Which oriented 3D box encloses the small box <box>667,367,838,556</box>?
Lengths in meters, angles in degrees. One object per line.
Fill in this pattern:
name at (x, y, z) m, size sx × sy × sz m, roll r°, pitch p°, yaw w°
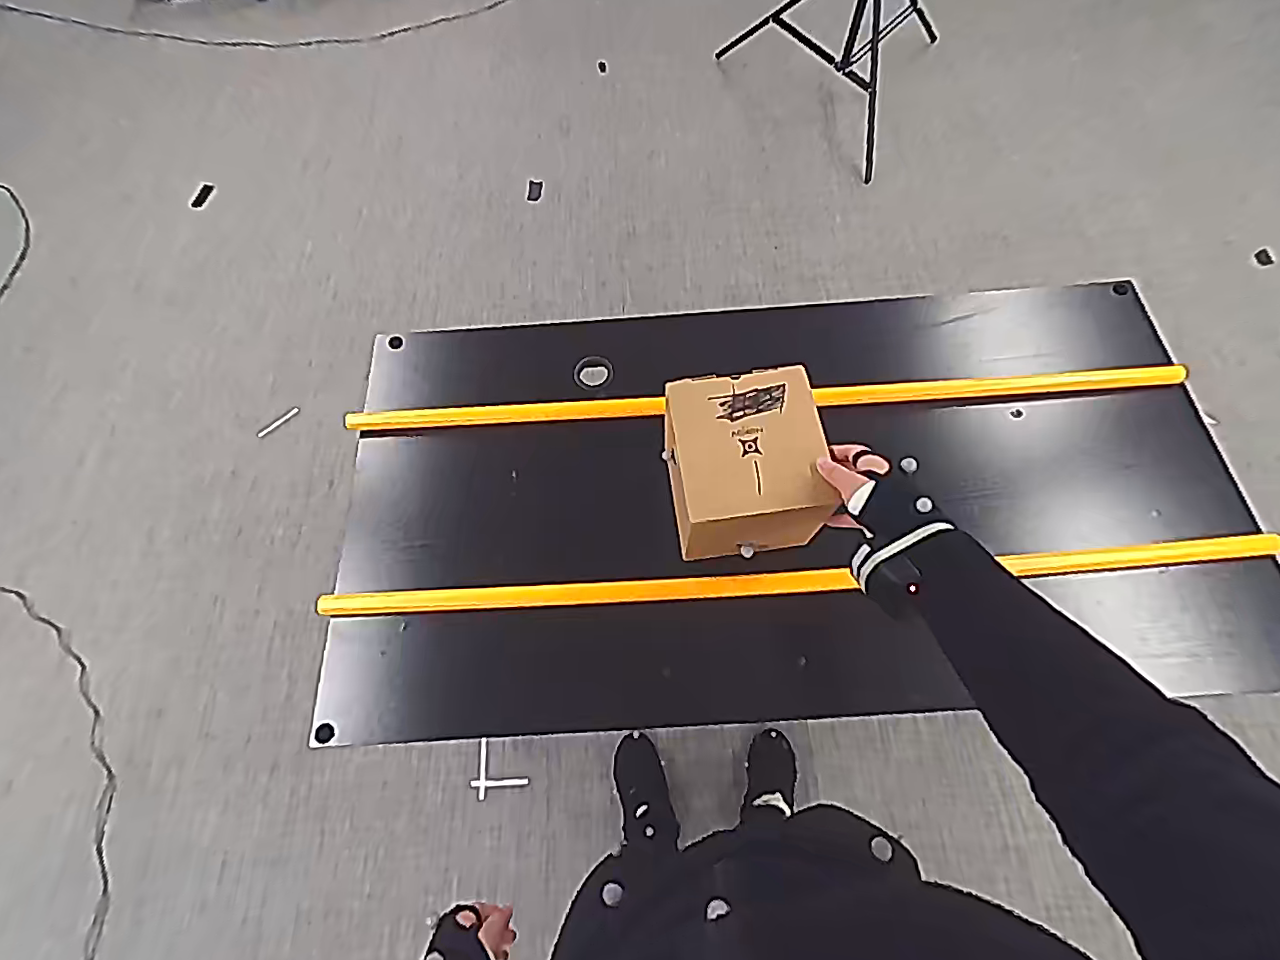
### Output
small box at (0.125, -0.016, 0.681) m, size 0.168 × 0.176 × 0.179 m, roll -8°, pitch 68°, yaw 0°
